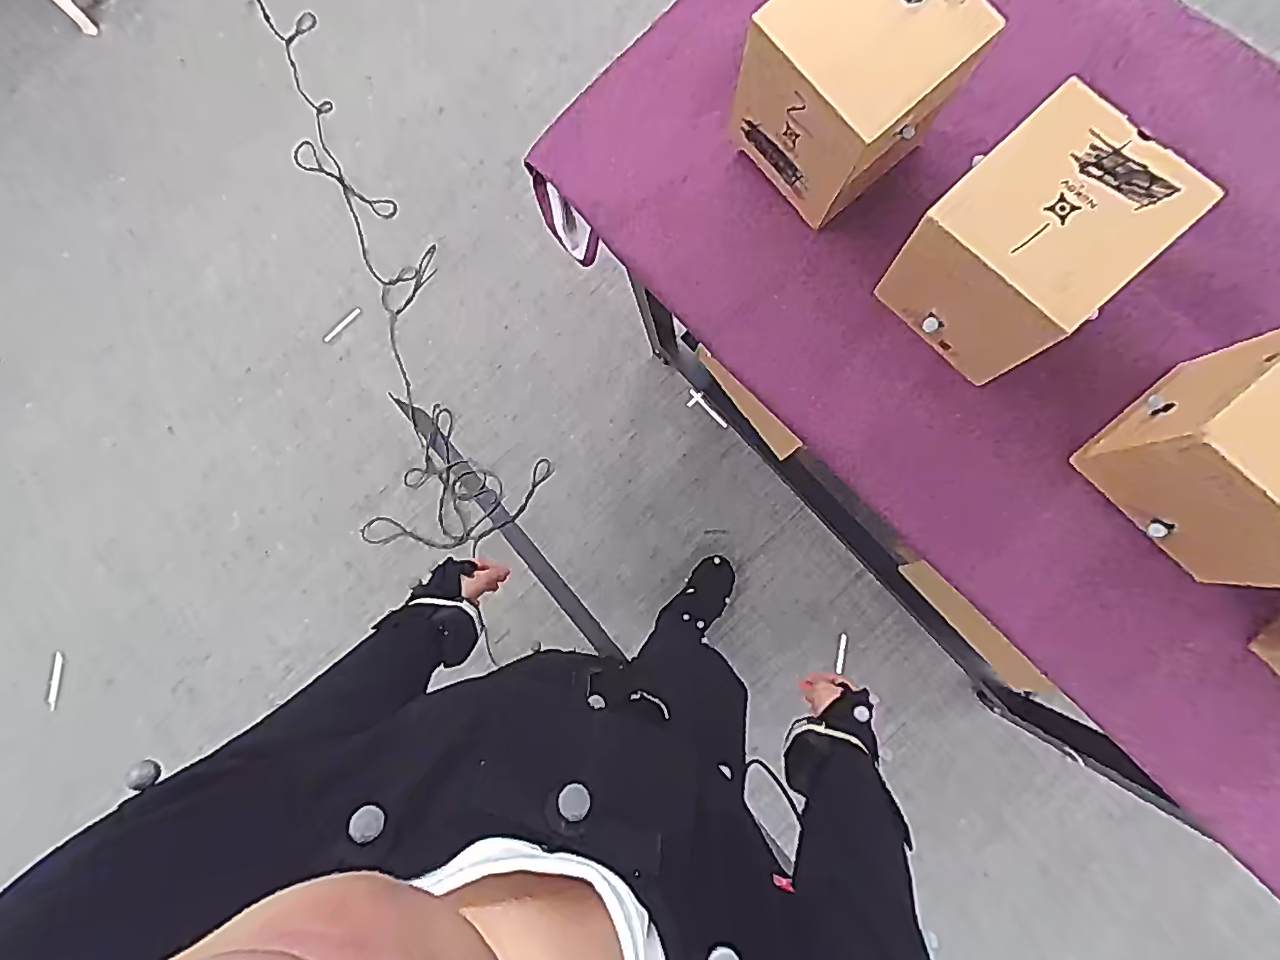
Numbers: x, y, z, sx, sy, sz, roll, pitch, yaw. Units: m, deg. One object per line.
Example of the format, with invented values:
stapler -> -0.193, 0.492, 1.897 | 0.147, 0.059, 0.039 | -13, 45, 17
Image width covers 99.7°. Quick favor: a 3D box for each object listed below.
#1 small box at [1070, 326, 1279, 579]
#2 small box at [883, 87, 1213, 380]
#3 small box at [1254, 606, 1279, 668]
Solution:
small box -> 0.582, -0.025, 0.506 | 0.168, 0.176, 0.179 | -41, 79, 0
small box -> 0.391, -0.235, 0.560 | 0.179, 0.176, 0.168 | -43, 80, 1
small box -> 0.732, 0.165, 0.464 | 0.168, 0.176, 0.179 | -41, 80, -1
